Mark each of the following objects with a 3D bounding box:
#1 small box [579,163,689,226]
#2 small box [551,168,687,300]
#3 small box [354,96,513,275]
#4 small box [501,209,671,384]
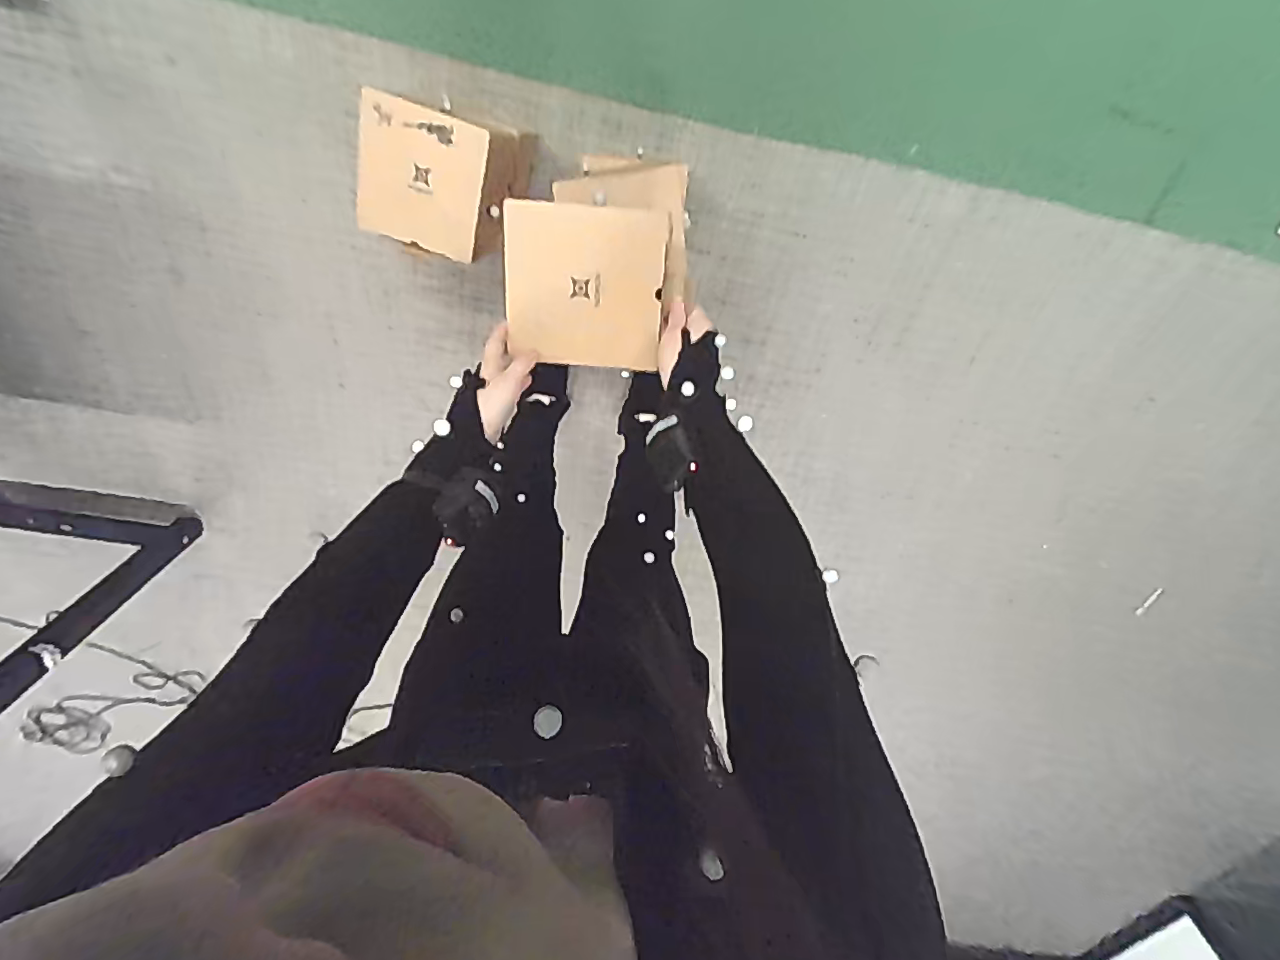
[{"bbox_3d":[-0.014,-0.464,0.964,0.179,0.176,0.168,4,122,-3],"label":"small box"},{"bbox_3d":[-0.025,-0.372,0.831,0.179,0.176,0.168,-7,123,4],"label":"small box"},{"bbox_3d":[-0.295,-0.429,0.795,0.168,0.176,0.179,16,120,-8],"label":"small box"},{"bbox_3d":[-0.058,-0.218,0.649,0.179,0.176,0.168,5,110,0],"label":"small box"}]
